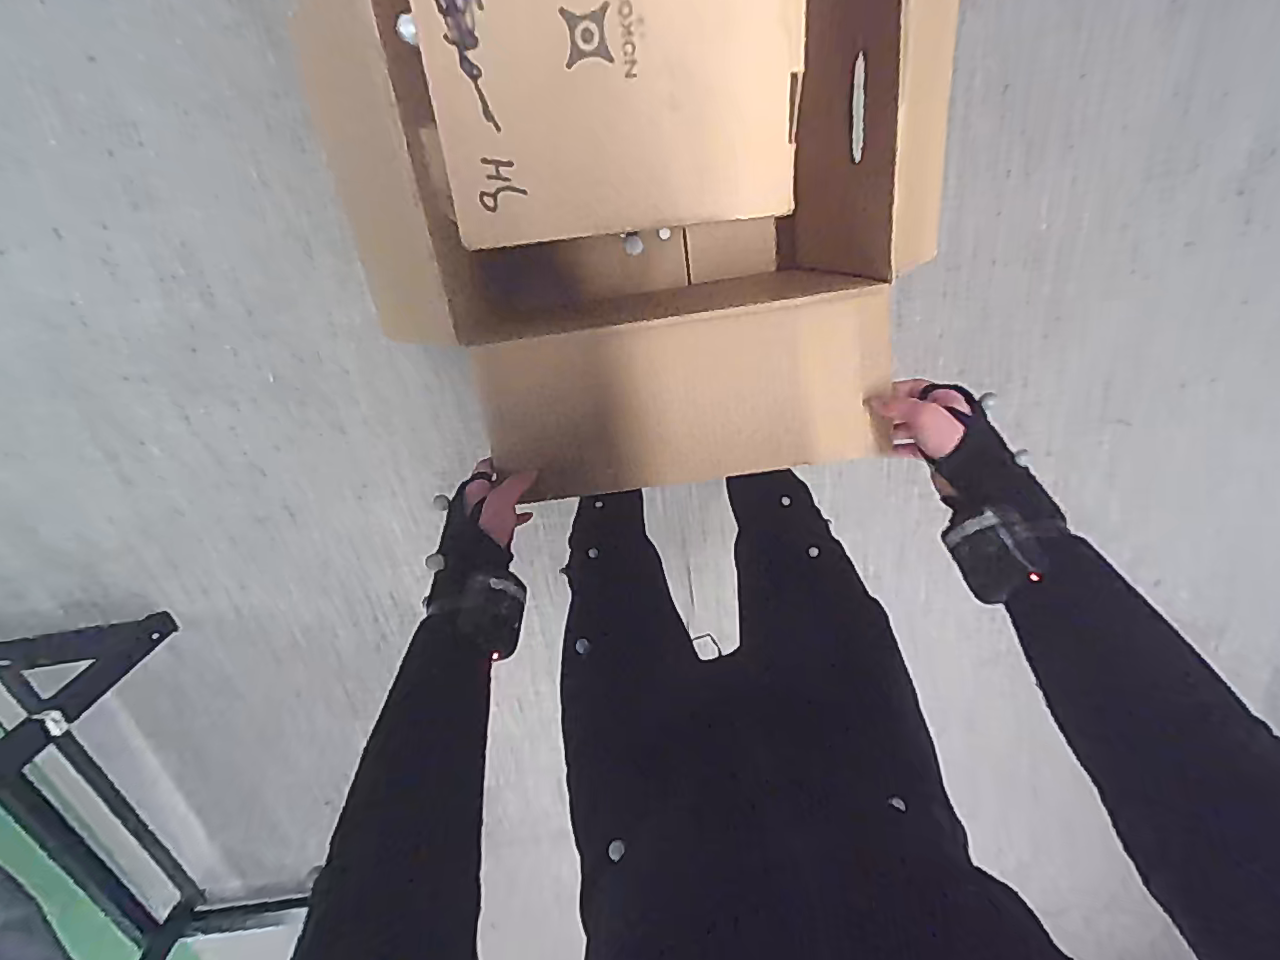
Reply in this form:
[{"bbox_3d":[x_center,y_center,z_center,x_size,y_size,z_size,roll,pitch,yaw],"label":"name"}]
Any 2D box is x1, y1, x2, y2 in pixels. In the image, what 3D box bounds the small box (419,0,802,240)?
[{"bbox_3d":[-0.014,-0.241,0.321,0.179,0.176,0.168,-5,114,2],"label":"small box"}]
